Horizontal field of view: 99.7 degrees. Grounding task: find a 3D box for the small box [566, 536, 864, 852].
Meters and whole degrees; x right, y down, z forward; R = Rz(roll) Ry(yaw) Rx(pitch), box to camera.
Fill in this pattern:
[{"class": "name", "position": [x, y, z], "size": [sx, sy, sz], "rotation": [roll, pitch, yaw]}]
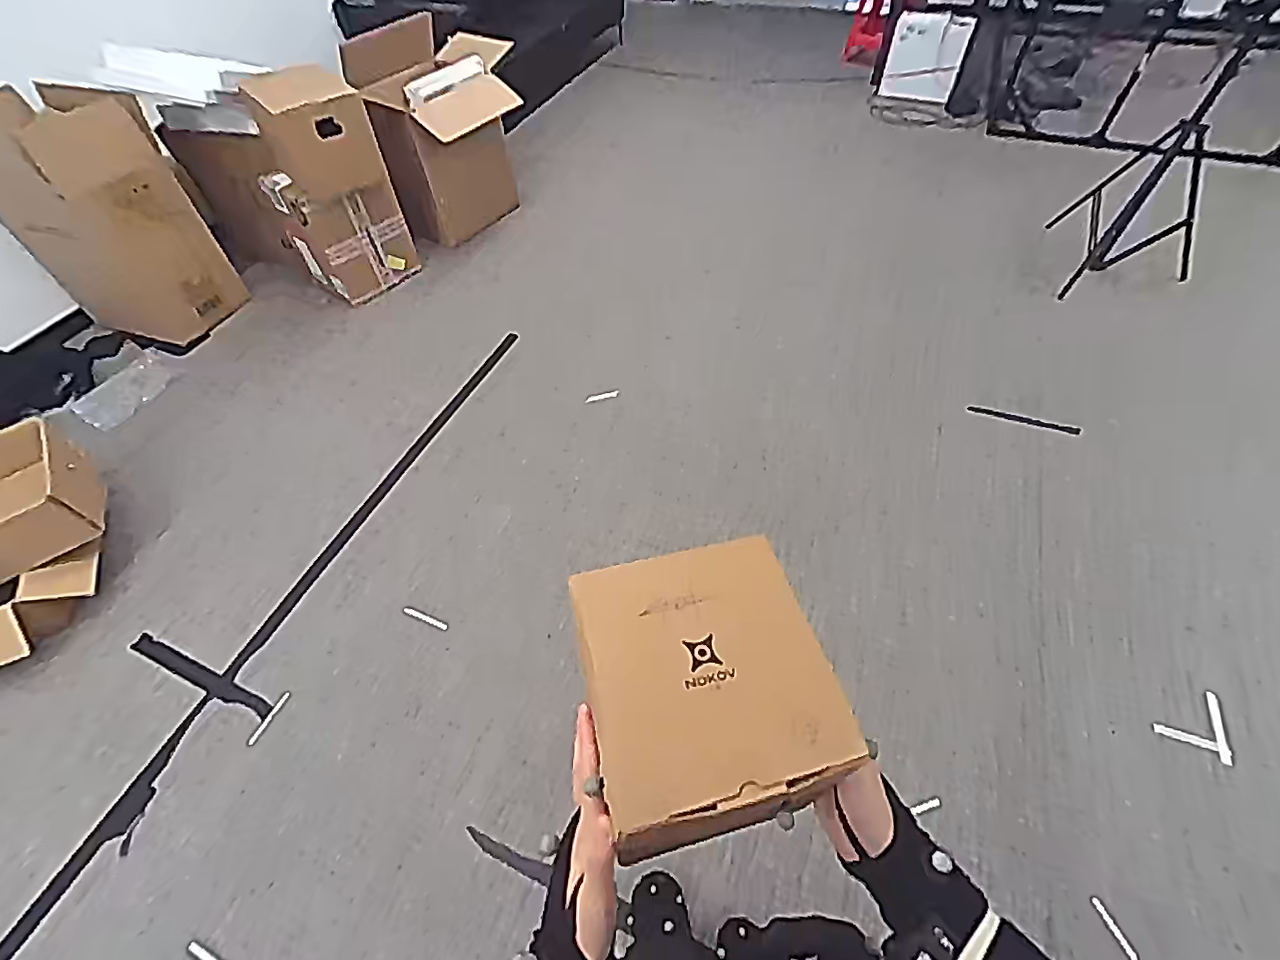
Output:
[{"class": "small box", "position": [0.041, 0.175, 0.435], "size": [0.168, 0.176, 0.179], "rotation": [-10, 50, -11]}]
